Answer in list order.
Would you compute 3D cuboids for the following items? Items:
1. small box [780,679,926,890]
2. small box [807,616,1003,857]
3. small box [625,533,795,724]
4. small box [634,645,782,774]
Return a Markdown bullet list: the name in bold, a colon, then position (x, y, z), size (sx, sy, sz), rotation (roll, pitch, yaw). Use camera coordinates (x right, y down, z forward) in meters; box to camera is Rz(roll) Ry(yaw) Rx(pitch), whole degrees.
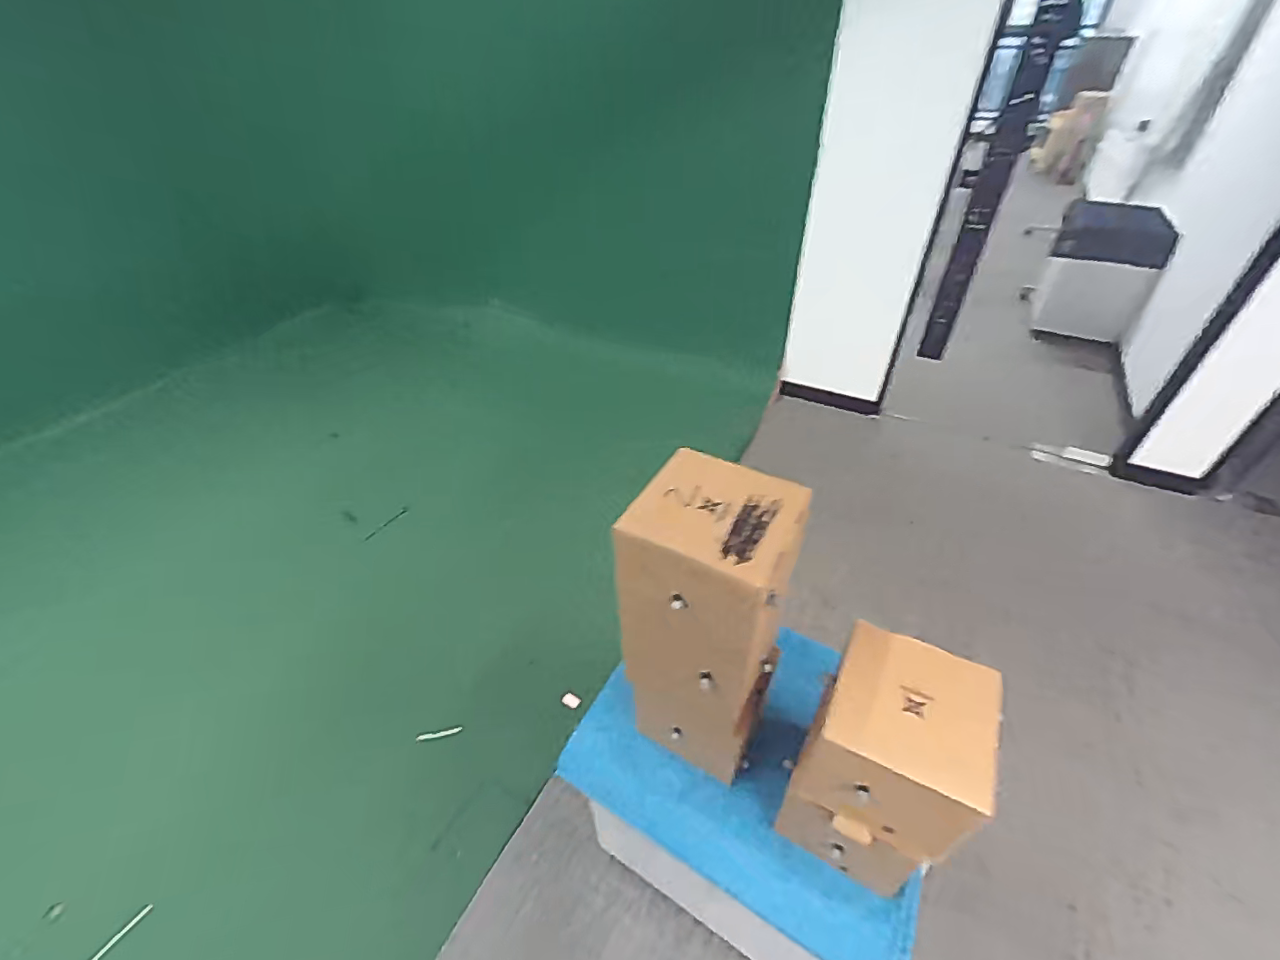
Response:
- **small box**: position (0.307, 0.428, 0.762), size (0.168, 0.176, 0.179), rotation (21, 46, 23)
- **small box**: position (0.311, 0.307, 0.653), size (0.168, 0.176, 0.179), rotation (19, 43, 22)
- **small box**: position (0.096, 0.212, 0.764), size (0.179, 0.176, 0.168), rotation (20, 45, 23)
- **small box**: position (0.107, 0.338, 0.869), size (0.179, 0.176, 0.168), rotation (20, 45, 23)
